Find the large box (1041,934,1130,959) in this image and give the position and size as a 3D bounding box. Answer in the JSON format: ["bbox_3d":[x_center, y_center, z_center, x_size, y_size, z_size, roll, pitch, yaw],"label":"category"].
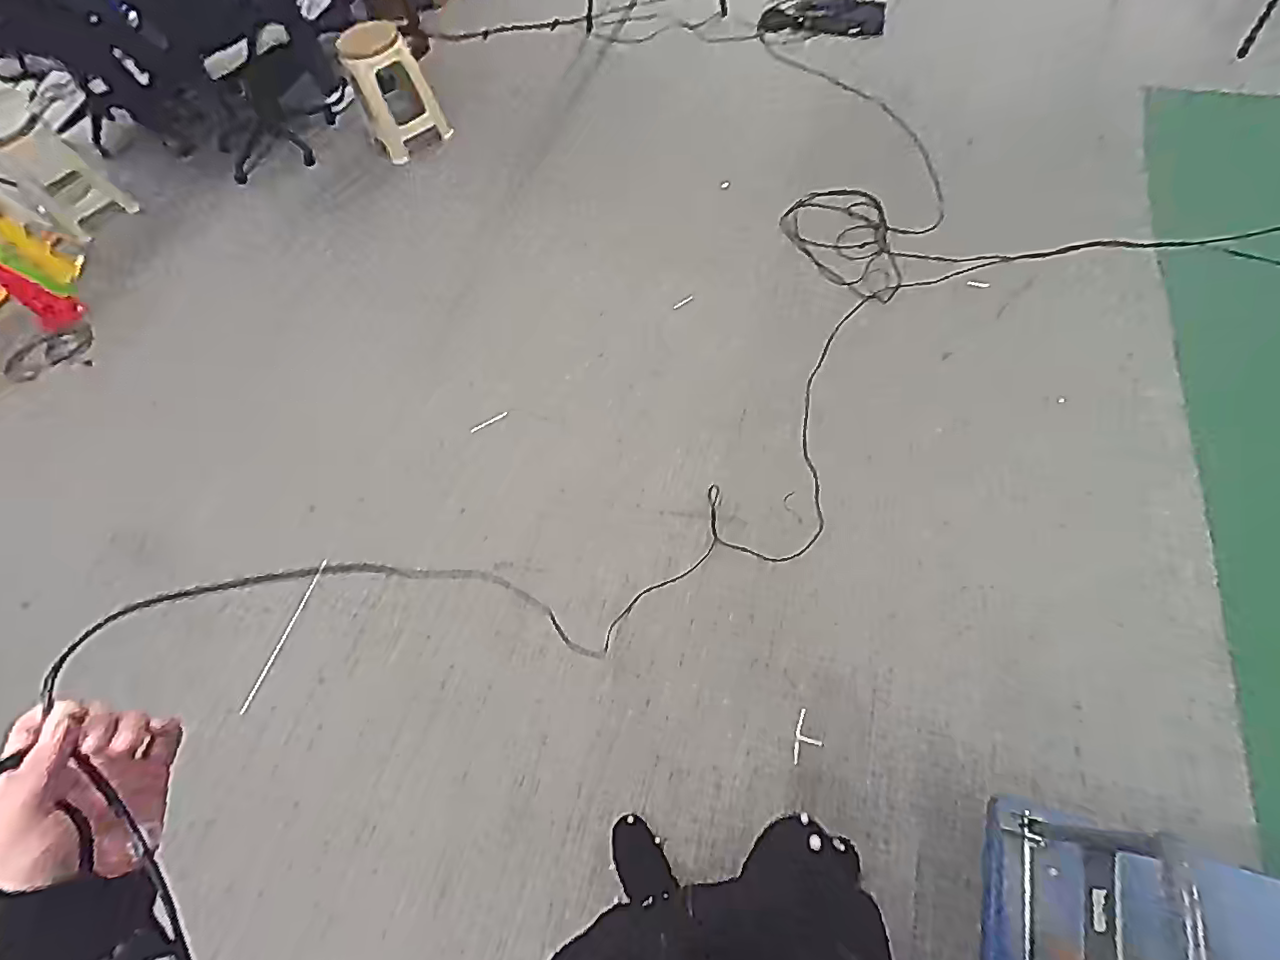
[{"bbox_3d":[0.895,0.956,0.800,0.408,0.320,0.320,9,64,18],"label":"large box"}]
